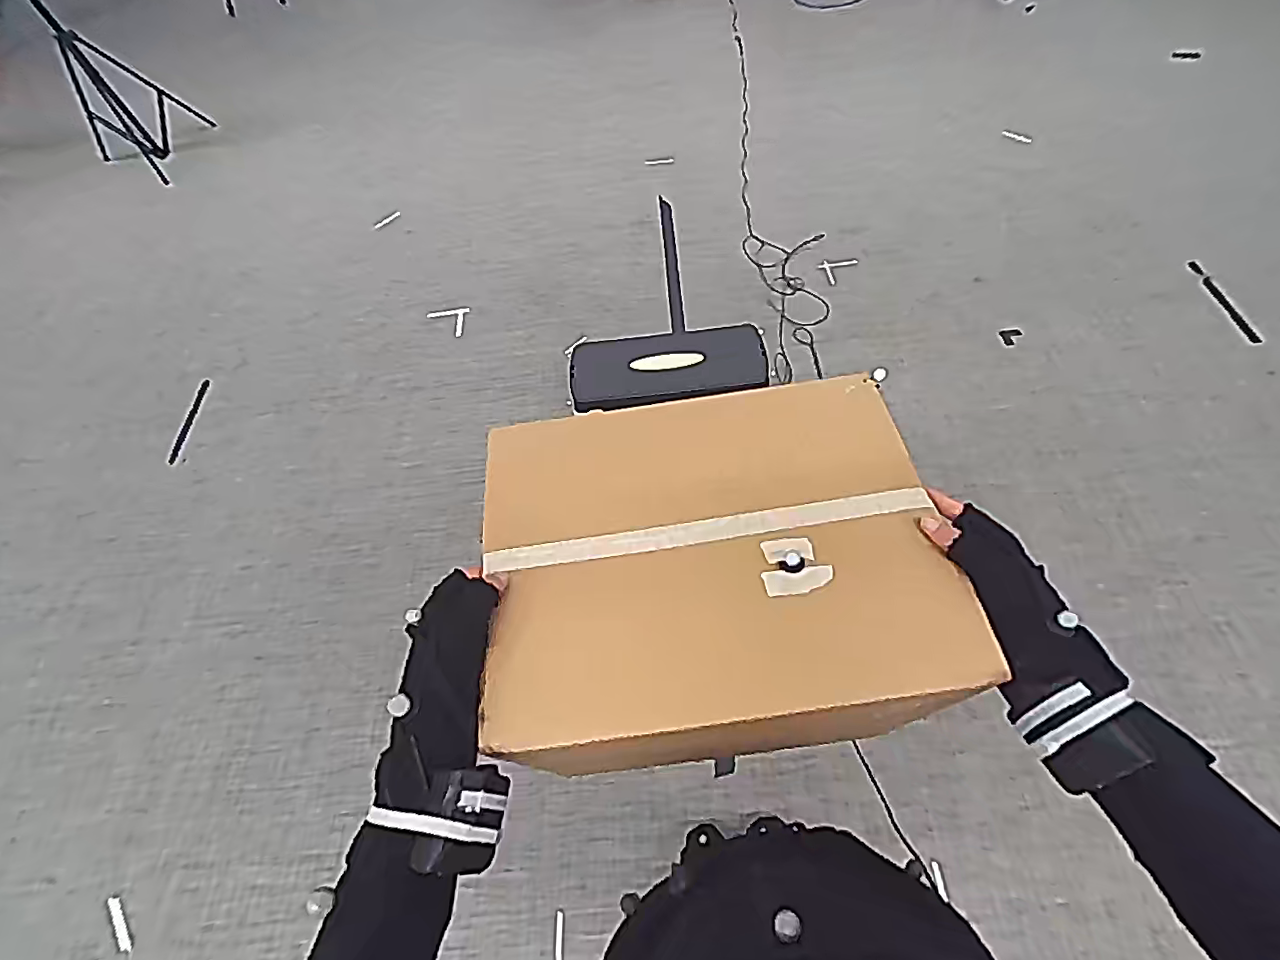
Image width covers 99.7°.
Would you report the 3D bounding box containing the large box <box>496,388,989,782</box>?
[{"bbox_3d":[0.074,0.138,0.628,0.408,0.320,0.320,-9,58,1],"label":"large box"}]
